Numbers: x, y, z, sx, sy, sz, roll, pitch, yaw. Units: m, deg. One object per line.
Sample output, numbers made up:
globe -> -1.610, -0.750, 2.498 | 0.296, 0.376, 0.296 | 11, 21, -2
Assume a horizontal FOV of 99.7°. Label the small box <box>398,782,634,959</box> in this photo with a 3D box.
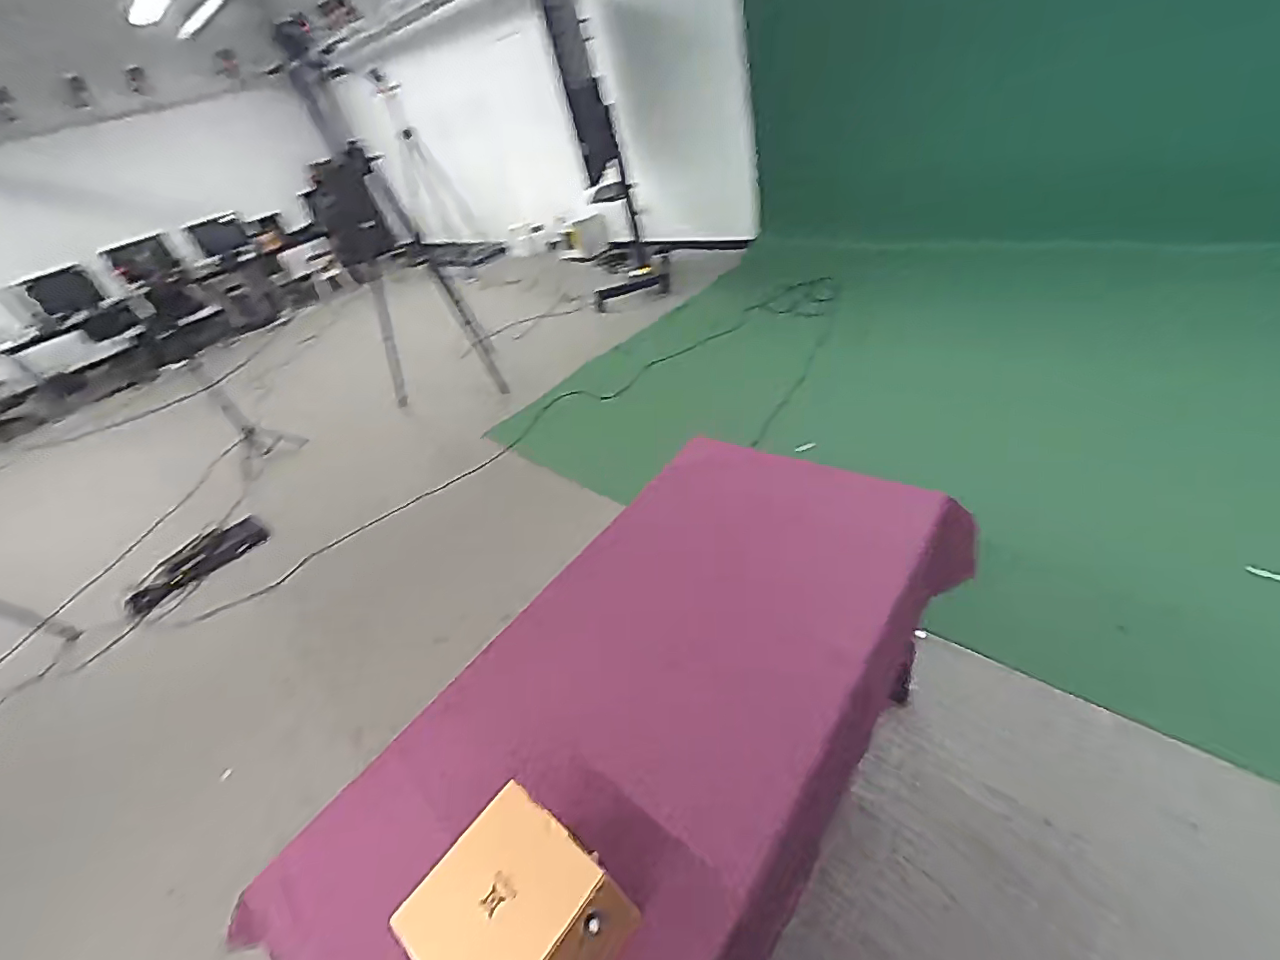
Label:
small box -> -0.130, 0.505, 0.621 | 0.168, 0.176, 0.179 | 18, 49, 39
